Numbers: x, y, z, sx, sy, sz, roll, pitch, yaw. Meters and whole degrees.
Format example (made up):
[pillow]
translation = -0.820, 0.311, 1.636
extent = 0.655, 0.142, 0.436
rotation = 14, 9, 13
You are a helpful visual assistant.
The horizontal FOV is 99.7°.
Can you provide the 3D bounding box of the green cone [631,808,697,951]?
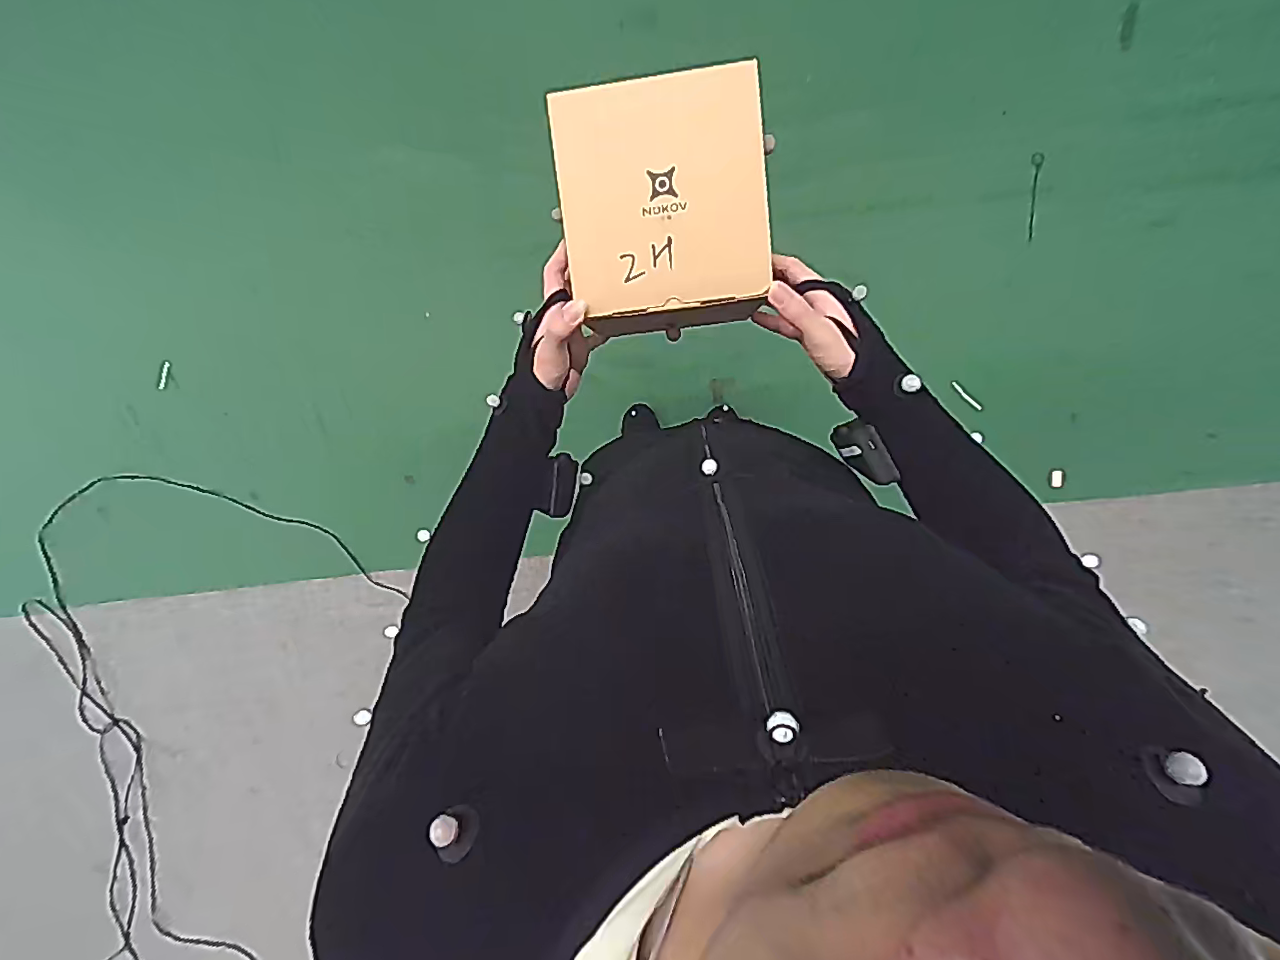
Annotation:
[green cone]
translation = 0.071, 1.170, 1.567
extent = 0.202, 0.368, 0.200
rotation = -5, 96, 3
